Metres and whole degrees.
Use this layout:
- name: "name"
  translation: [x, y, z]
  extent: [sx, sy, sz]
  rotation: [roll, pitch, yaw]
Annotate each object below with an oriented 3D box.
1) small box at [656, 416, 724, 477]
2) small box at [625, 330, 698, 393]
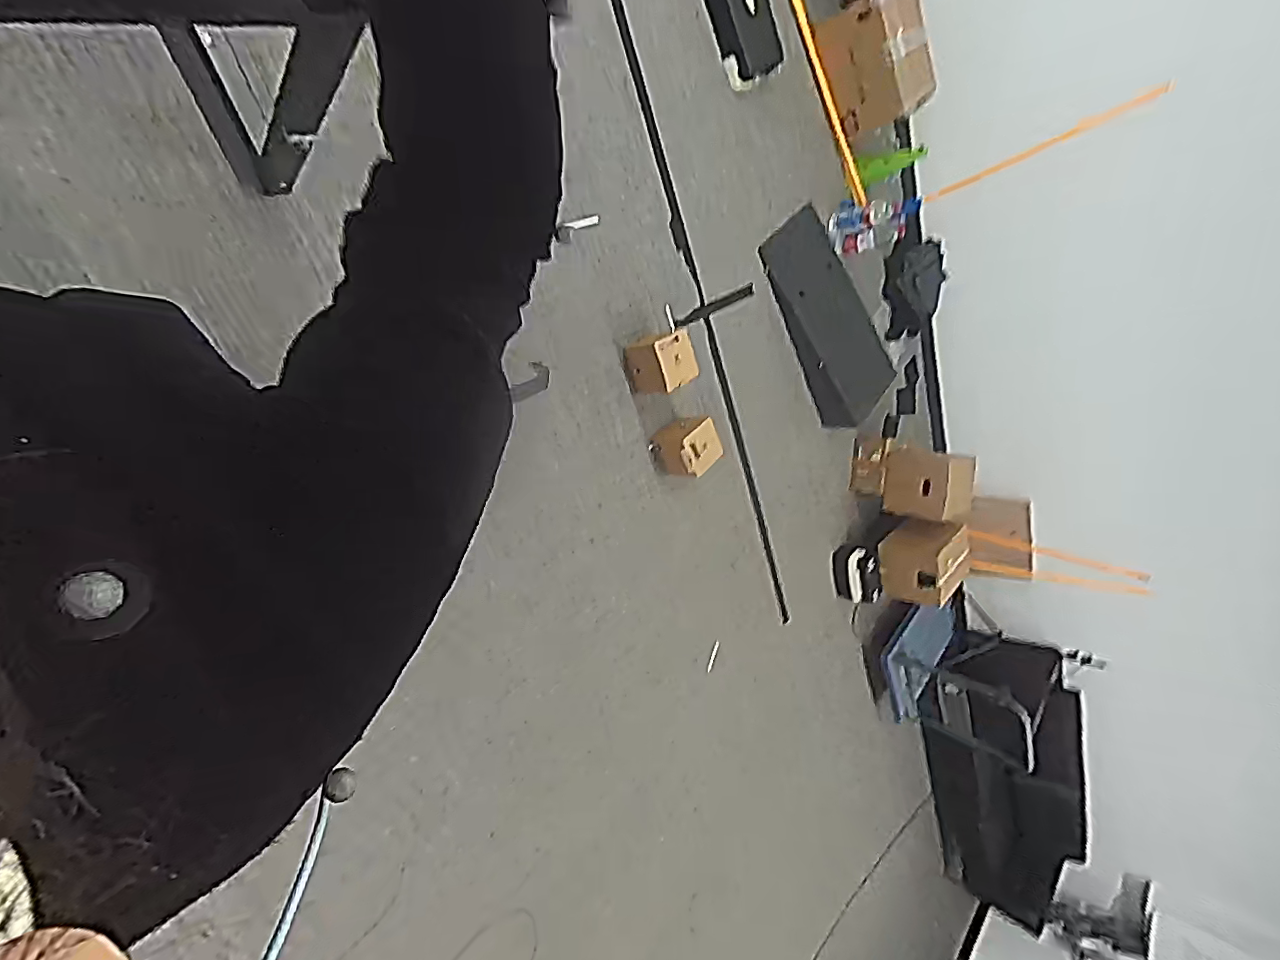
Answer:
- name: "small box"
  translation: [0.183, -0.128, 2.042]
  extent: [0.179, 0.176, 0.168]
  rotation: [-42, 120, -30]
- name: "small box"
  translation: [0.076, -0.418, 1.913]
  extent: [0.168, 0.176, 0.179]
  rotation: [-34, 117, -33]
